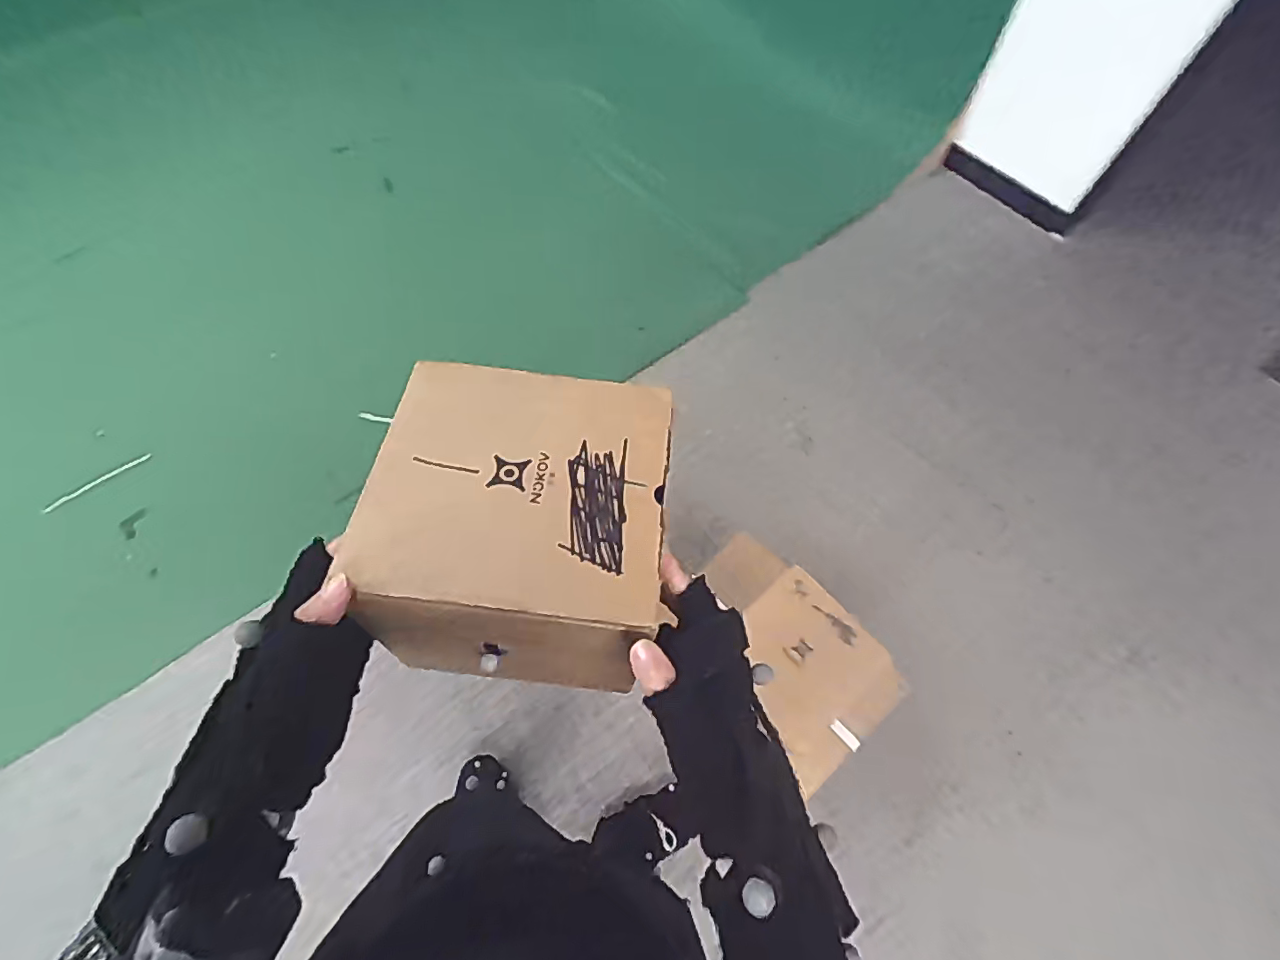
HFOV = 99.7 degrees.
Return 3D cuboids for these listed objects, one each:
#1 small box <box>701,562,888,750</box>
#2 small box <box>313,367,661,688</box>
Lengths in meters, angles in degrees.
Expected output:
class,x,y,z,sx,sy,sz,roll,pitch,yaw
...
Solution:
class,x,y,z,sx,sy,sz,roll,pitch,yaw
small box,0.204,0.249,0.761,0.179,0.176,0.168,-39,69,-11
small box,-0.084,0.045,0.384,0.179,0.176,0.168,4,58,-5
